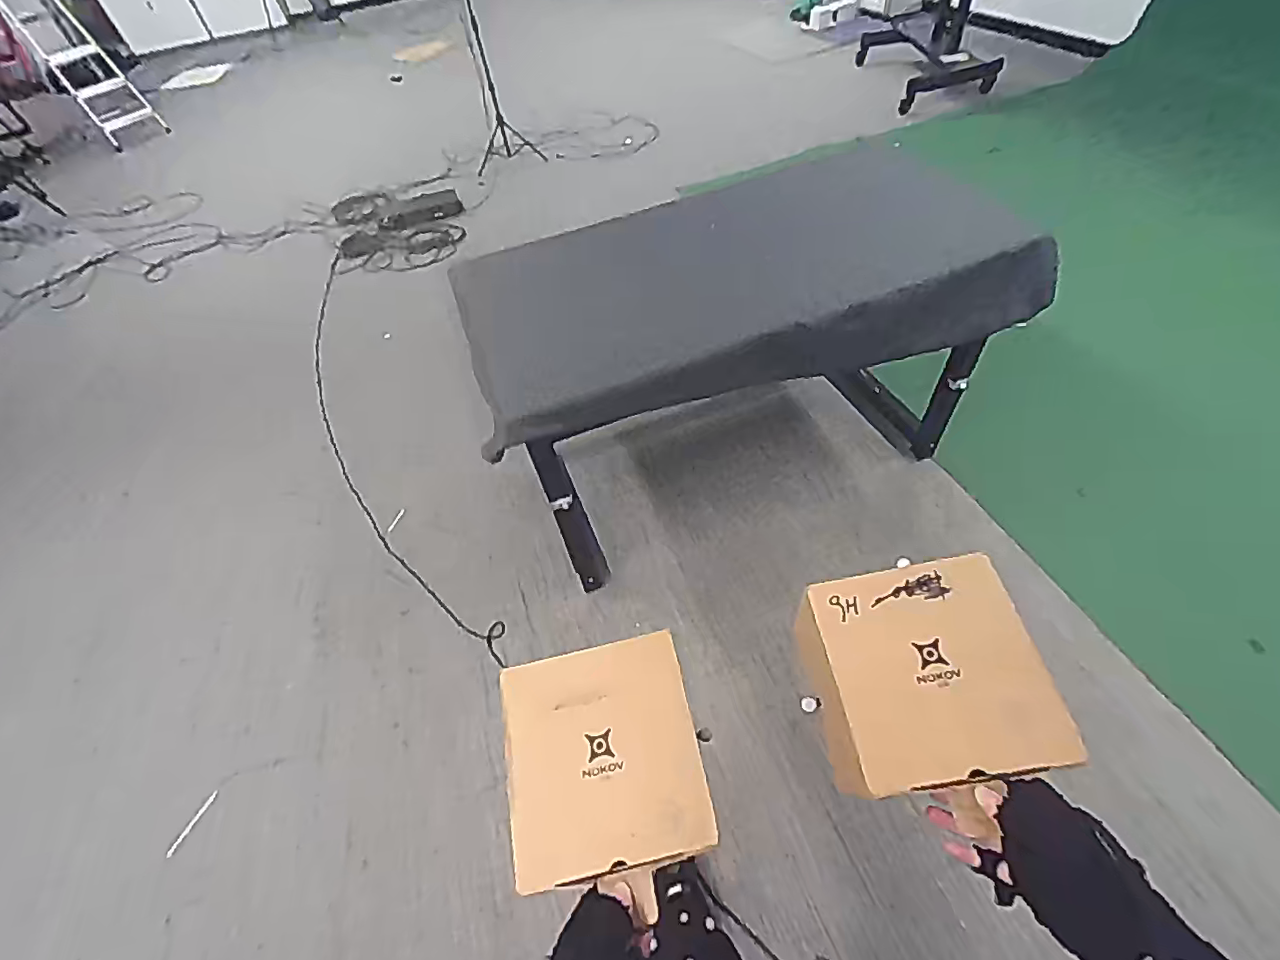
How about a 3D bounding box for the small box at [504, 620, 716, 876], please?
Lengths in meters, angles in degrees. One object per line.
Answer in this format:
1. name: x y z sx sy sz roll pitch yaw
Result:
1. small box: -0.025 0.264 0.541 0.168 0.176 0.179 -13 58 -2
